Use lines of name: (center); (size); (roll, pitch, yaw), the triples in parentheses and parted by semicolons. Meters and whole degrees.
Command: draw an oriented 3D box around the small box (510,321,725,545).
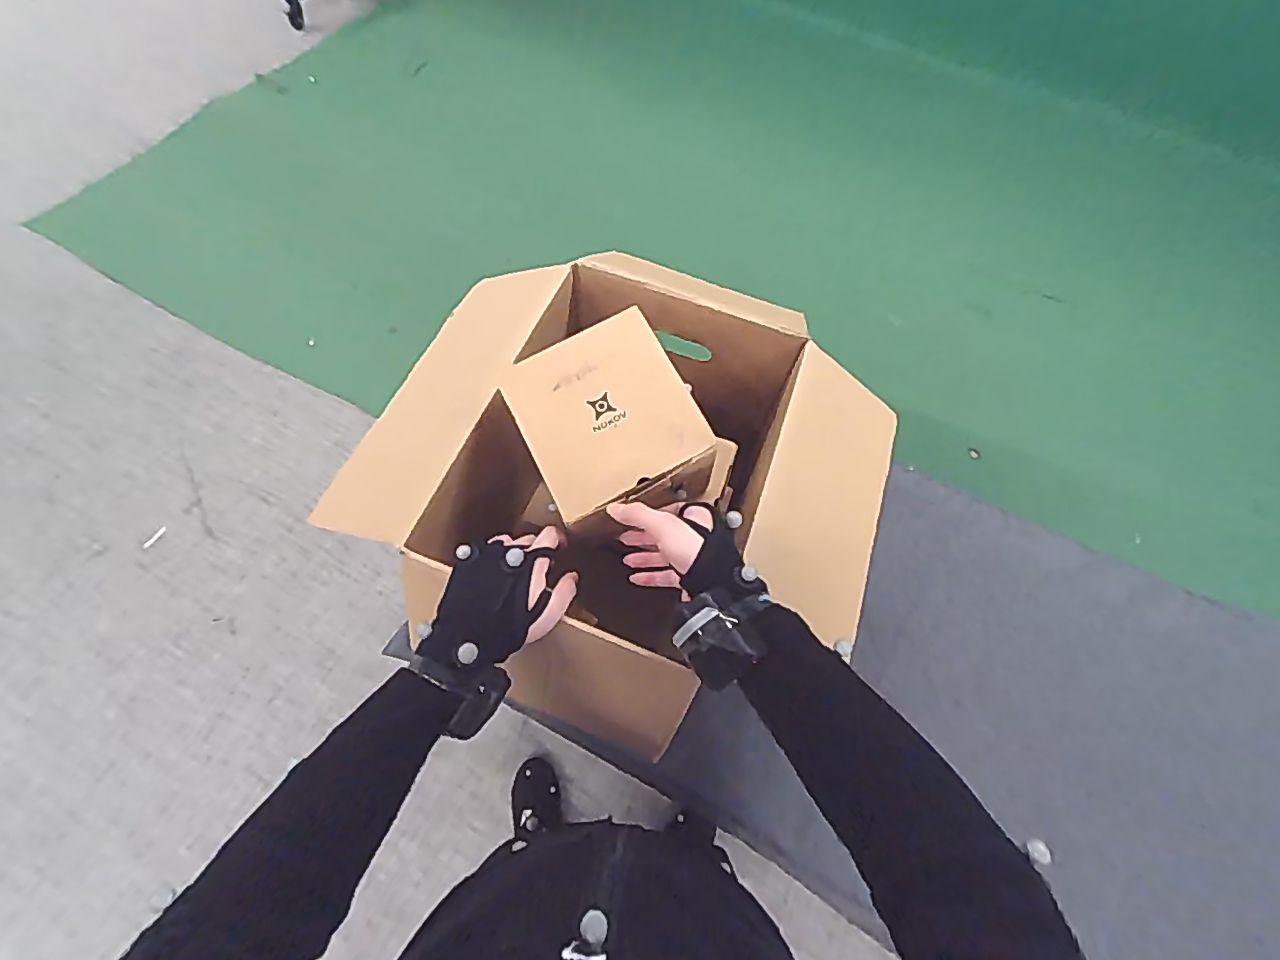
small box: (-0.020, -0.038, 0.616); (0.168, 0.176, 0.179); (-26, 73, -5)
